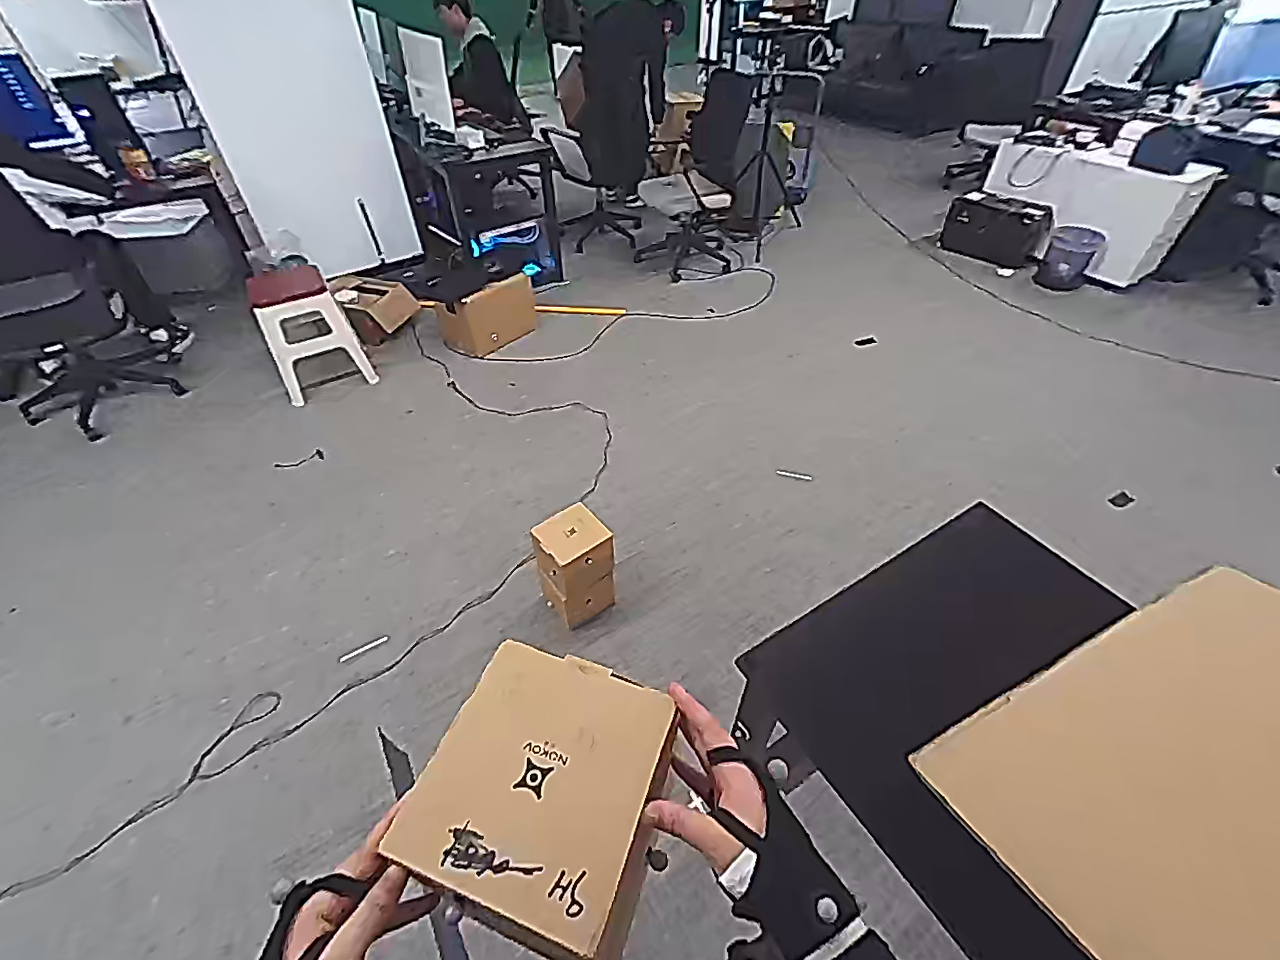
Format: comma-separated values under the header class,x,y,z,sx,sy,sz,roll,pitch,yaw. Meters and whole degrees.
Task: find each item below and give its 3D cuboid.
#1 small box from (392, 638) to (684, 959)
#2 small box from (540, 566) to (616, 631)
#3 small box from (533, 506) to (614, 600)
class,x,y,z,sx,sy,sz,roll,pitch,yaw
small box,-0.068,0.275,0.463,0.168,0.176,0.179,12,44,16
small box,-0.190,0.333,1.686,0.179,0.176,0.168,-28,51,-24
small box,-0.187,0.215,1.575,0.179,0.176,0.168,-29,52,-28
